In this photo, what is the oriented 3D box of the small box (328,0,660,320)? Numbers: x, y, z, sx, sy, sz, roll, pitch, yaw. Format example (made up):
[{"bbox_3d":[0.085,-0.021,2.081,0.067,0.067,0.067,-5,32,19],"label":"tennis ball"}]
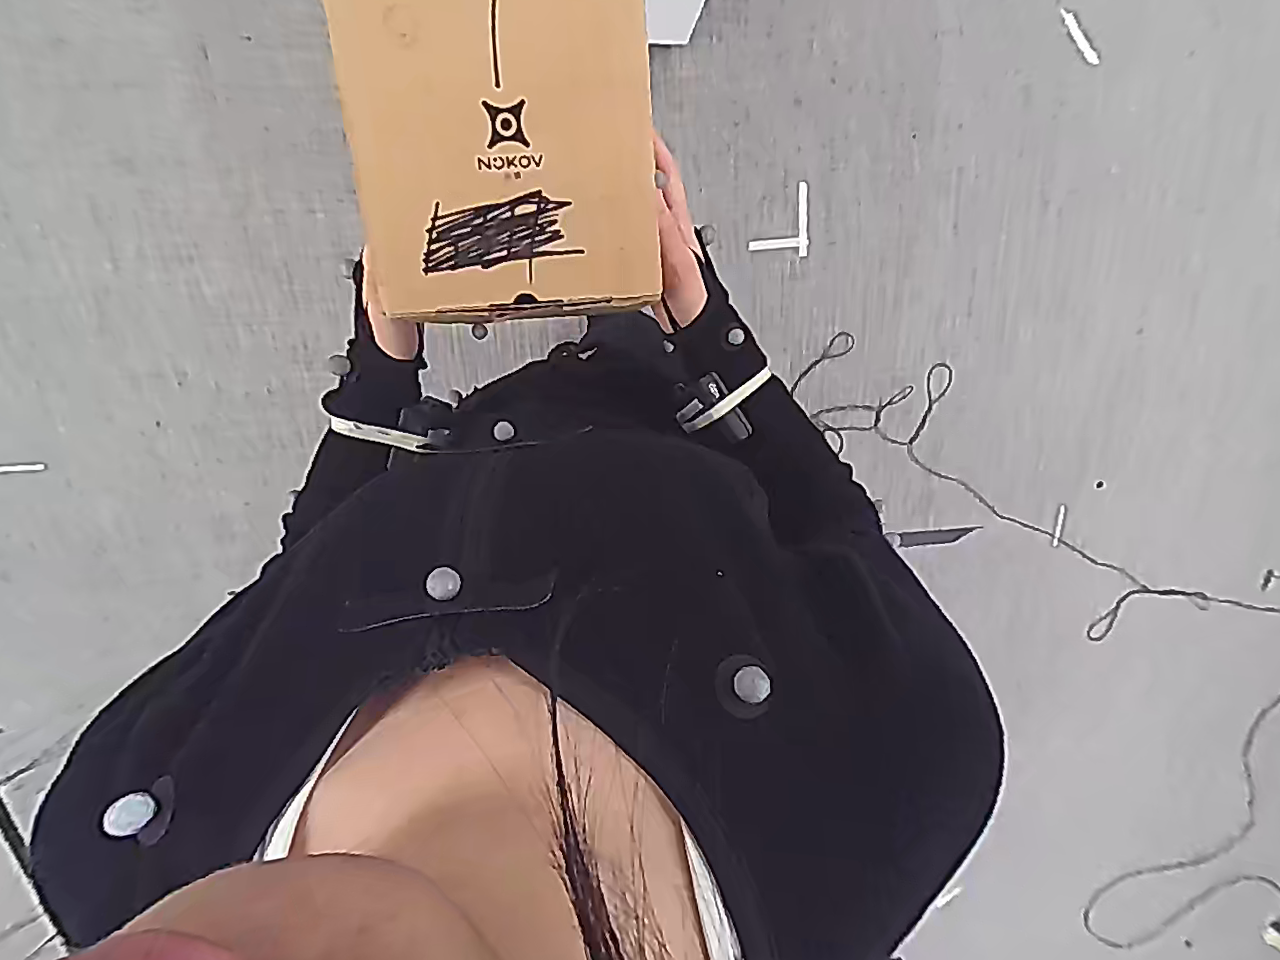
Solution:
[{"bbox_3d":[-0.082,-0.205,0.374,0.168,0.176,0.179,-6,104,-6],"label":"small box"}]
